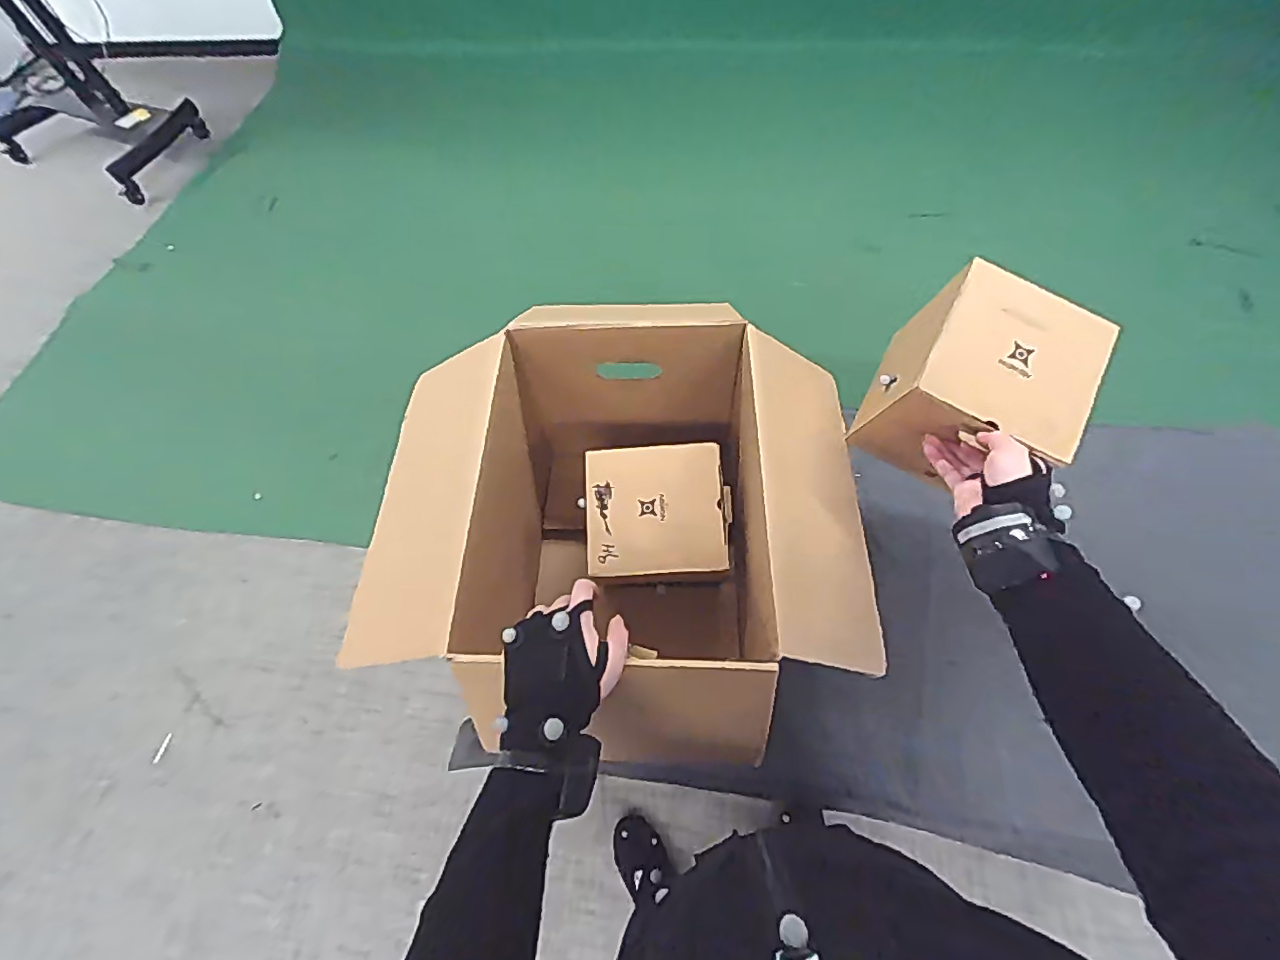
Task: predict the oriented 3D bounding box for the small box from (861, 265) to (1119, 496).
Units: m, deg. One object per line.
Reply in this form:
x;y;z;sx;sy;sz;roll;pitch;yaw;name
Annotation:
0.387;-0.102;0.631;0.168;0.176;0.179;29;76;4;small box
